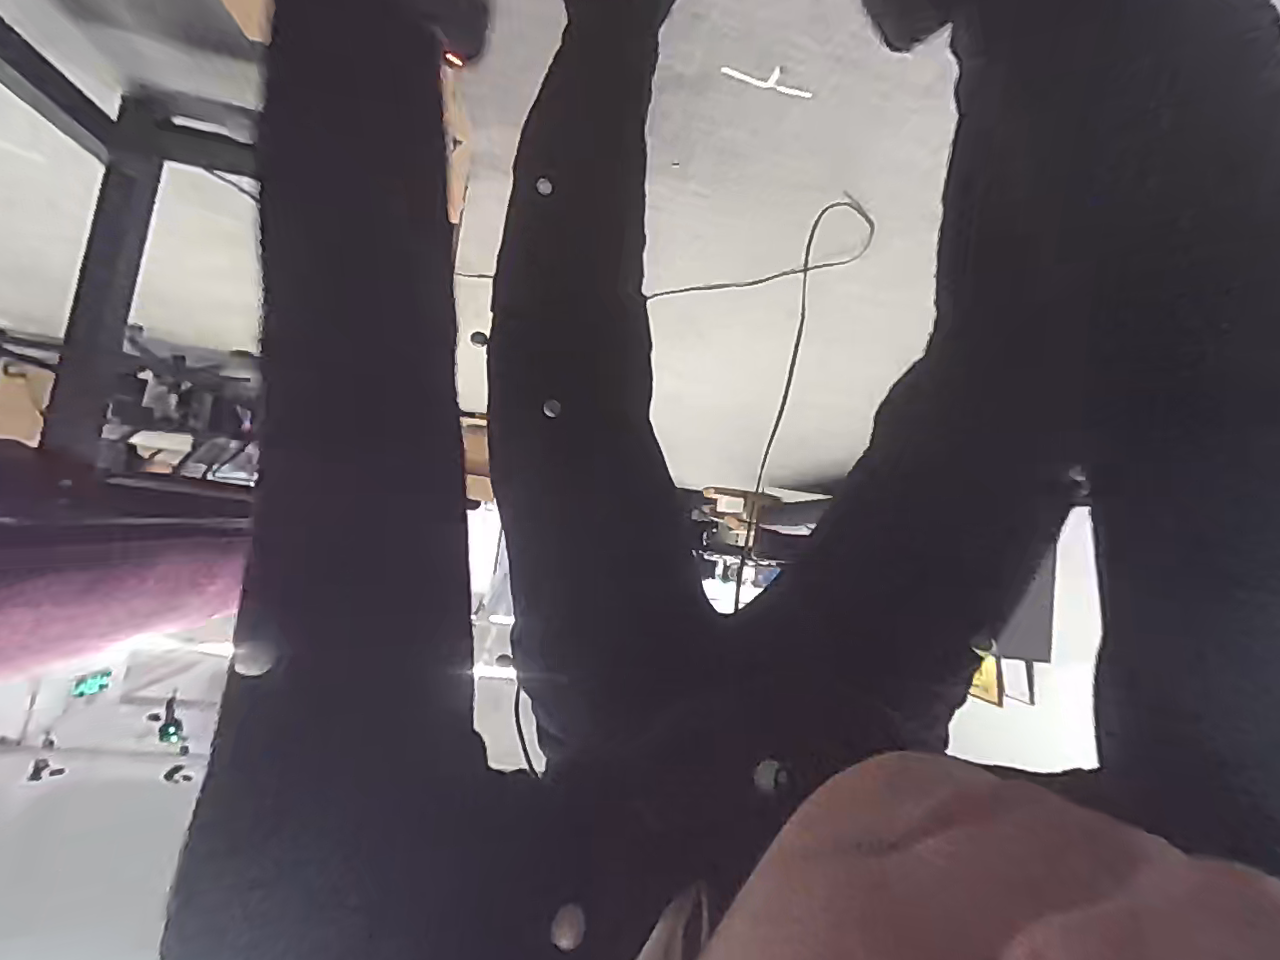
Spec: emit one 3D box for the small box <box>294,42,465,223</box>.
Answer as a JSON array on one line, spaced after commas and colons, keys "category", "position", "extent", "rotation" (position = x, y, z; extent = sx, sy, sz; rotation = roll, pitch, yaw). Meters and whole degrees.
[{"category": "small box", "position": [-0.370, -0.516, 0.805], "extent": [0.179, 0.176, 0.168], "rotation": [8, 174, -1]}]
